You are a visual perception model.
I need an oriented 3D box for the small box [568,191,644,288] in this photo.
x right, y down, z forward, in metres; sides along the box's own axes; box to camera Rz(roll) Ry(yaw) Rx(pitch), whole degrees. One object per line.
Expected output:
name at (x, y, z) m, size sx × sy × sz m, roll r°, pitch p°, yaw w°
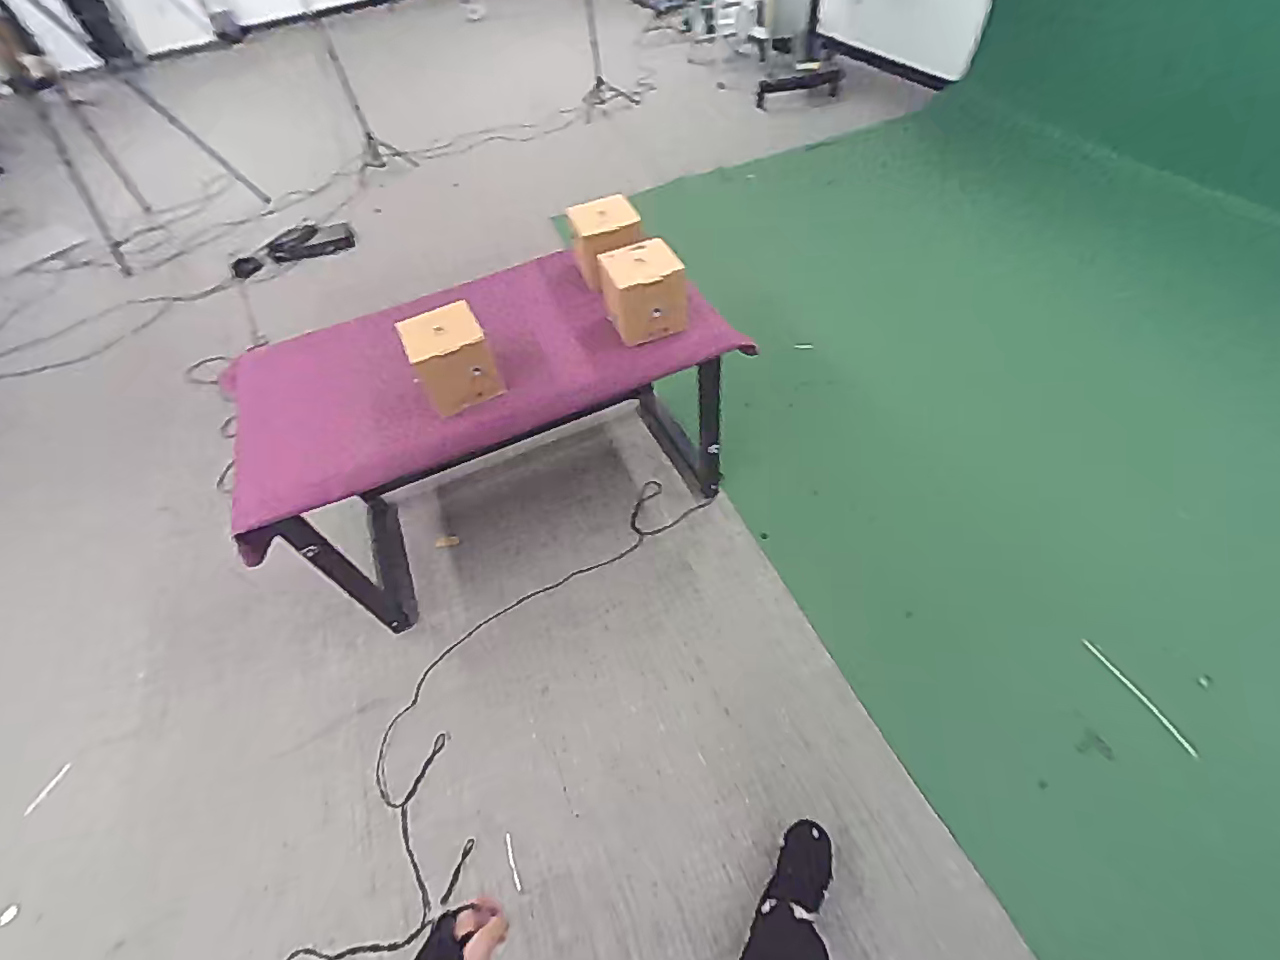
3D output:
small box at (-0.088, -0.667, 1.508) m, size 0.168 × 0.176 × 0.179 m, roll -19°, pitch 54°, yaw -6°

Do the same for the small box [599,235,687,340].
small box at (0.012, -0.470, 1.342) m, size 0.168 × 0.176 × 0.179 m, roll -19°, pitch 52°, yaw -6°

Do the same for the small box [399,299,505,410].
small box at (-0.435, -0.285, 1.265) m, size 0.168 × 0.176 × 0.179 m, roll -25°, pitch 52°, yaw -12°
